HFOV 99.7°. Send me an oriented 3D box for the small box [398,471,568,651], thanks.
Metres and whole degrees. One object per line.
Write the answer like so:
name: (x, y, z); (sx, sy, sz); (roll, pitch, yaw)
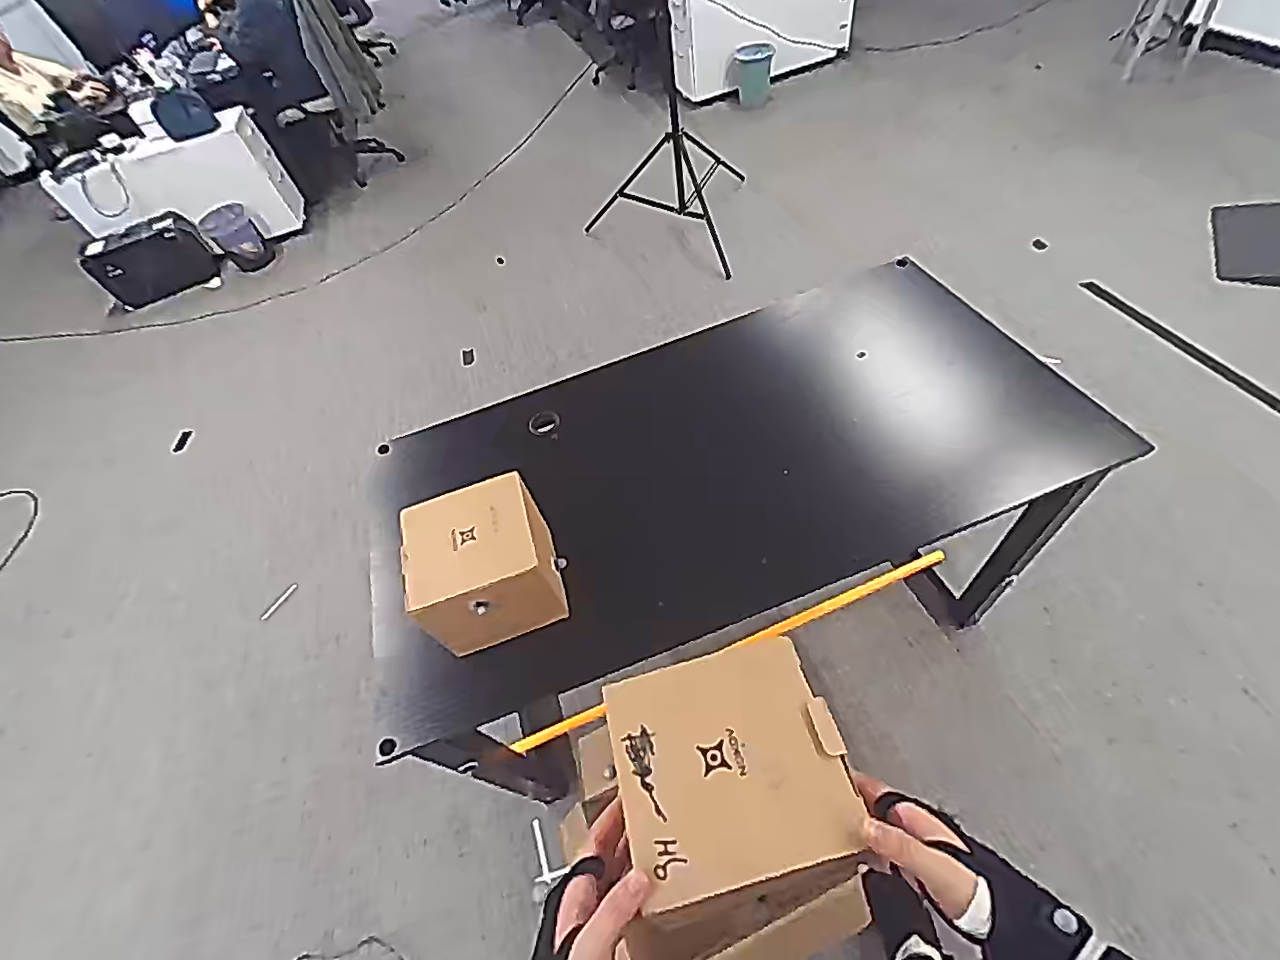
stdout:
small box: (-0.221, 0.122, 0.776); (0.179, 0.176, 0.168); (-20, 54, -5)
